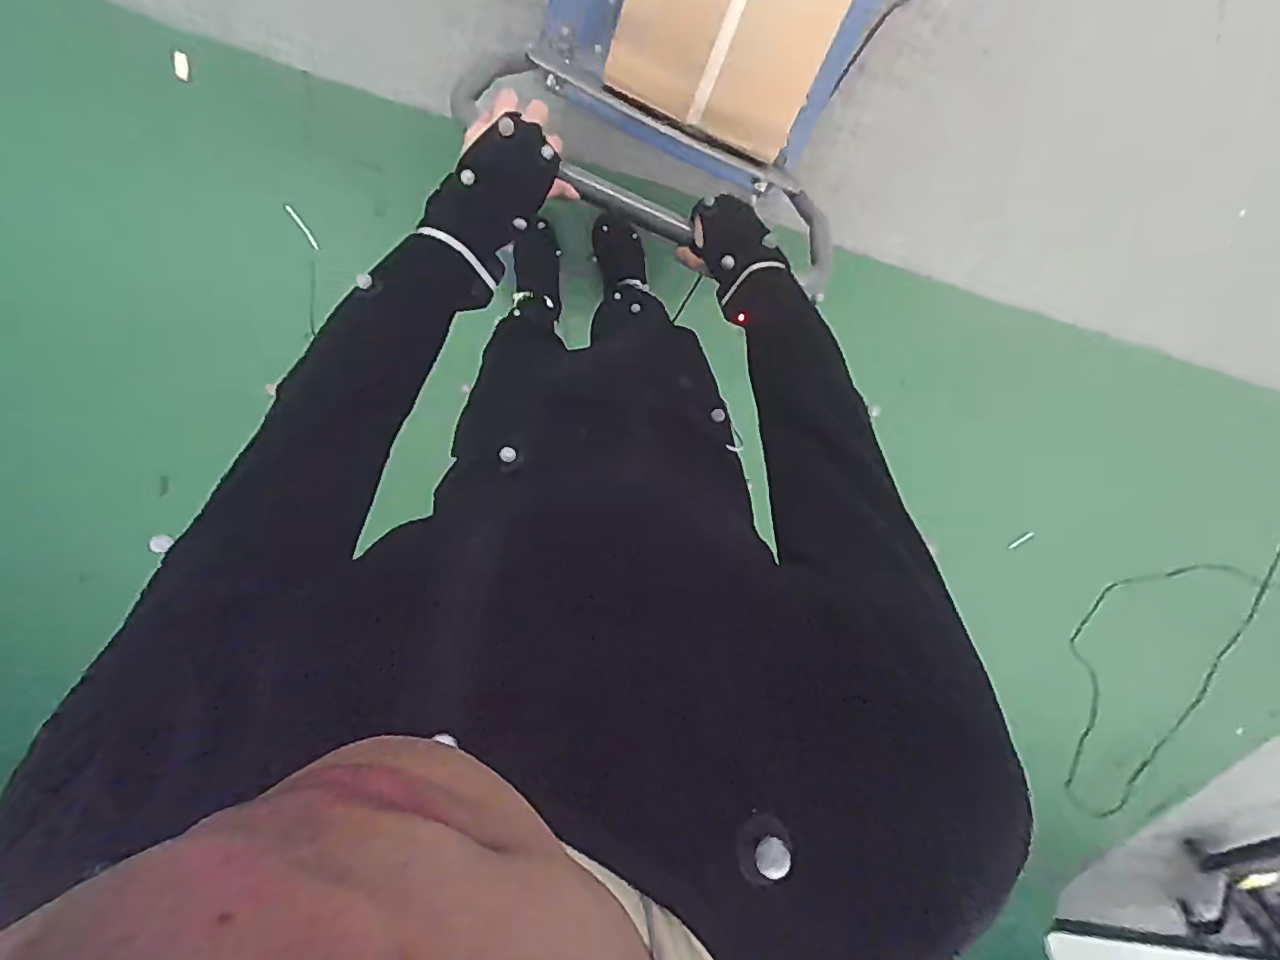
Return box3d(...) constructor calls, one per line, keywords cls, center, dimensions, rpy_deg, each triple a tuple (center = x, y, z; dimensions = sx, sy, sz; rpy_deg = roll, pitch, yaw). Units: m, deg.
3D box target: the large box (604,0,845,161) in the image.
box3d(cls="large box", center=(0.156, -0.822, 0.912), dimensions=(0.320, 0.320, 0.408), rpy_deg=(19, 123, -11))
